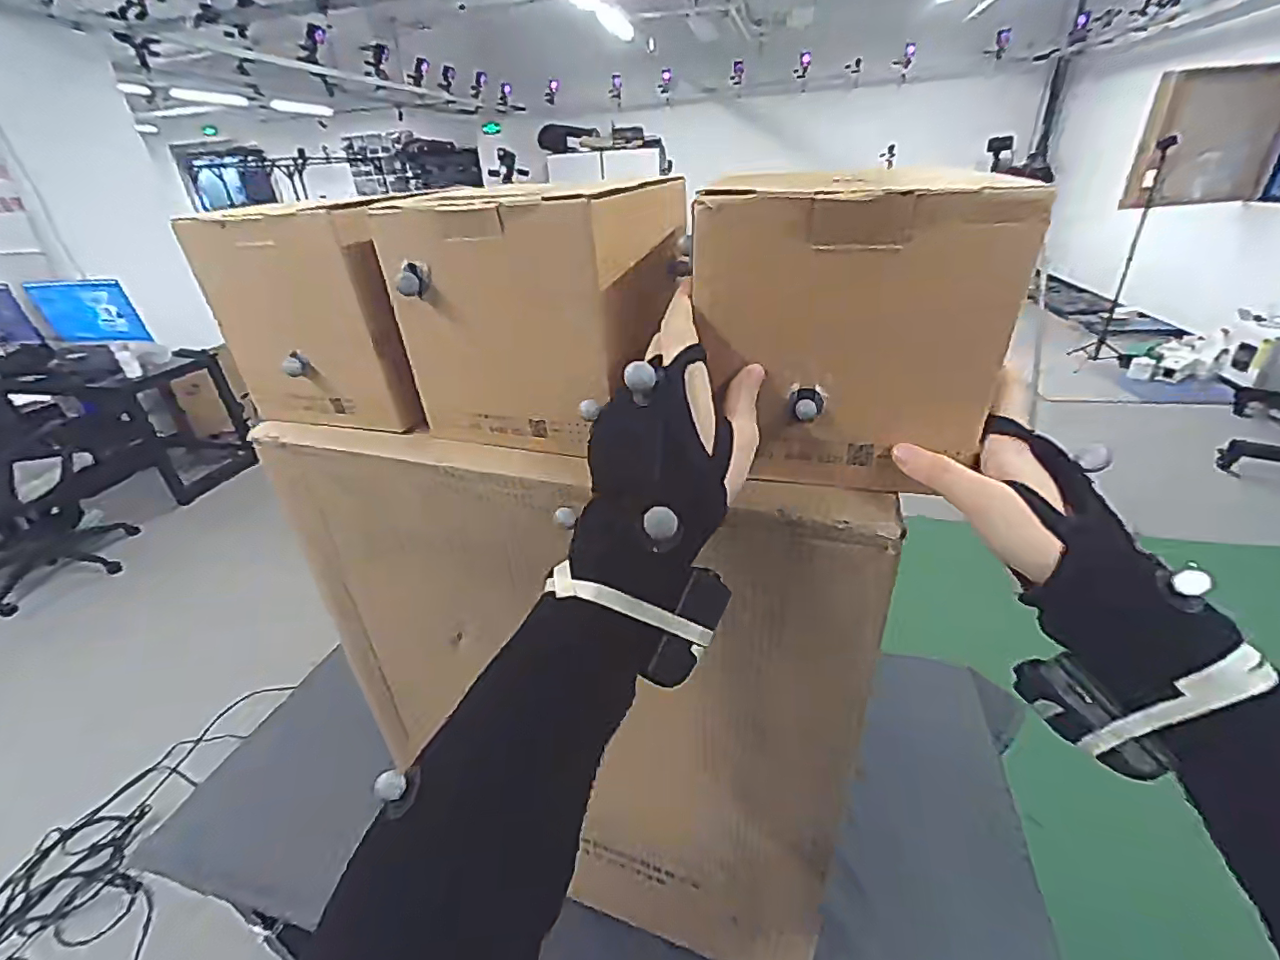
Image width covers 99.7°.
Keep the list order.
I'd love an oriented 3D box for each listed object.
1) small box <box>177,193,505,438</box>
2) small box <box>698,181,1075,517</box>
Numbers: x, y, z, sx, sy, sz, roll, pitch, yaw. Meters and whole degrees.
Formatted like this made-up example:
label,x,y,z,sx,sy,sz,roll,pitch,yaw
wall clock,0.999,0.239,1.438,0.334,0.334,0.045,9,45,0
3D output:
label,x,y,z,sx,sy,sz,roll,pitch,yaw
small box,-0.239,-0.154,0.486,0.168,0.176,0.179,7,33,19
small box,0.132,-0.099,0.363,0.168,0.176,0.179,6,34,12
